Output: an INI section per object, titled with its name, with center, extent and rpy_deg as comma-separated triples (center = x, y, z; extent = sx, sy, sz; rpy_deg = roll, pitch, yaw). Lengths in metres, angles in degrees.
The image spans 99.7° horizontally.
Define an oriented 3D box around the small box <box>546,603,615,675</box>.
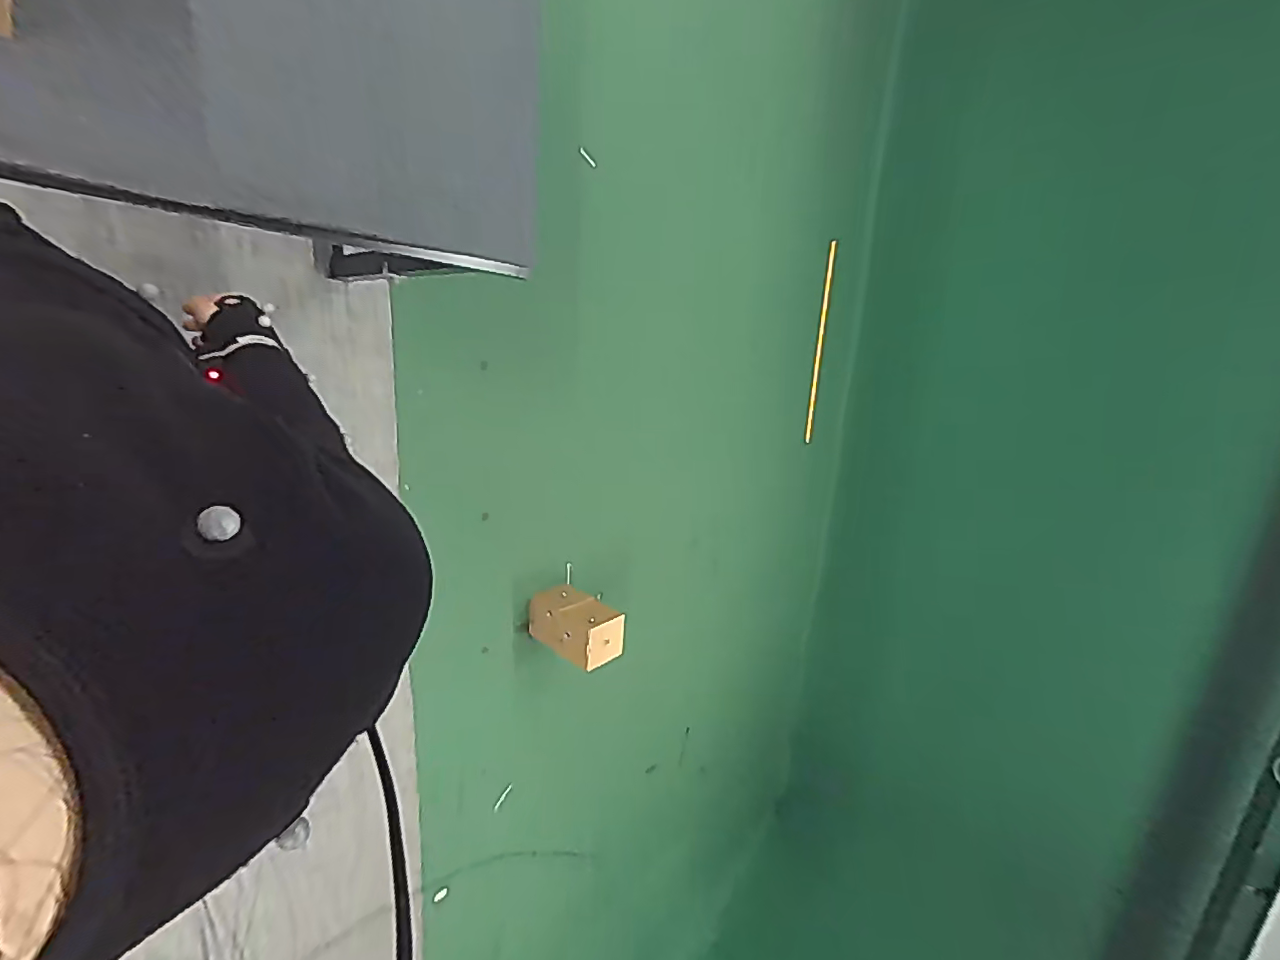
[small box]
center = -0.213, 0.561, 1.941
extent = 0.179, 0.176, 0.168
rpy_deg = -11, 111, -48
